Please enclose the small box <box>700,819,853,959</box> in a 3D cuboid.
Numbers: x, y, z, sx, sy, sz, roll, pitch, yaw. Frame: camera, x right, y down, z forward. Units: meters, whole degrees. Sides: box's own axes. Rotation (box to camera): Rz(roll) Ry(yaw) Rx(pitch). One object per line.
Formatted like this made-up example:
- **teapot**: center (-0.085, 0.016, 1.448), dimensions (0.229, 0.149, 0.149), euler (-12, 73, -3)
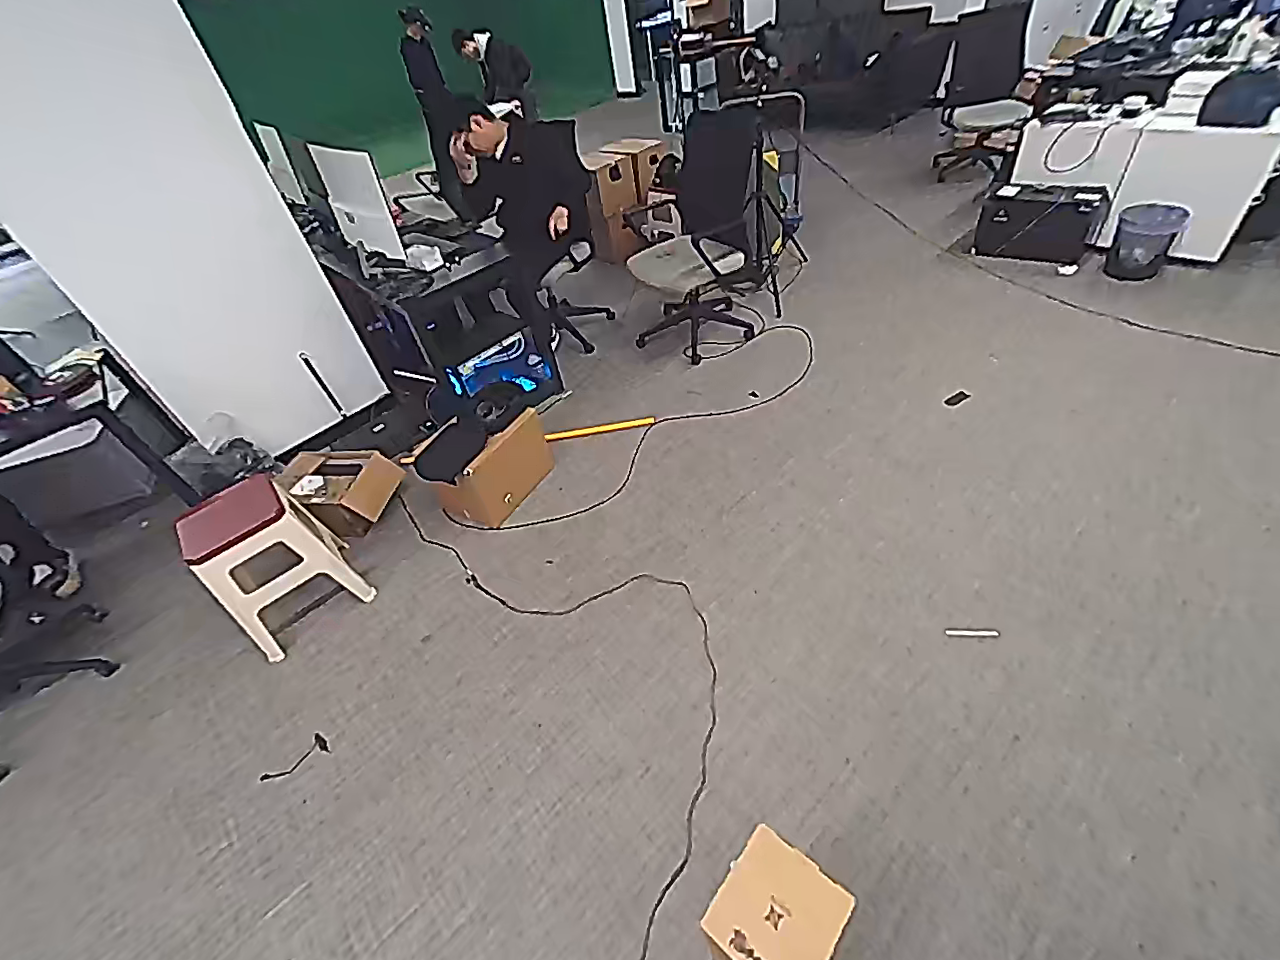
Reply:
- **small box**: center (0.212, 0.695, 0.859), dimensions (0.168, 0.176, 0.179), euler (26, 53, 34)
